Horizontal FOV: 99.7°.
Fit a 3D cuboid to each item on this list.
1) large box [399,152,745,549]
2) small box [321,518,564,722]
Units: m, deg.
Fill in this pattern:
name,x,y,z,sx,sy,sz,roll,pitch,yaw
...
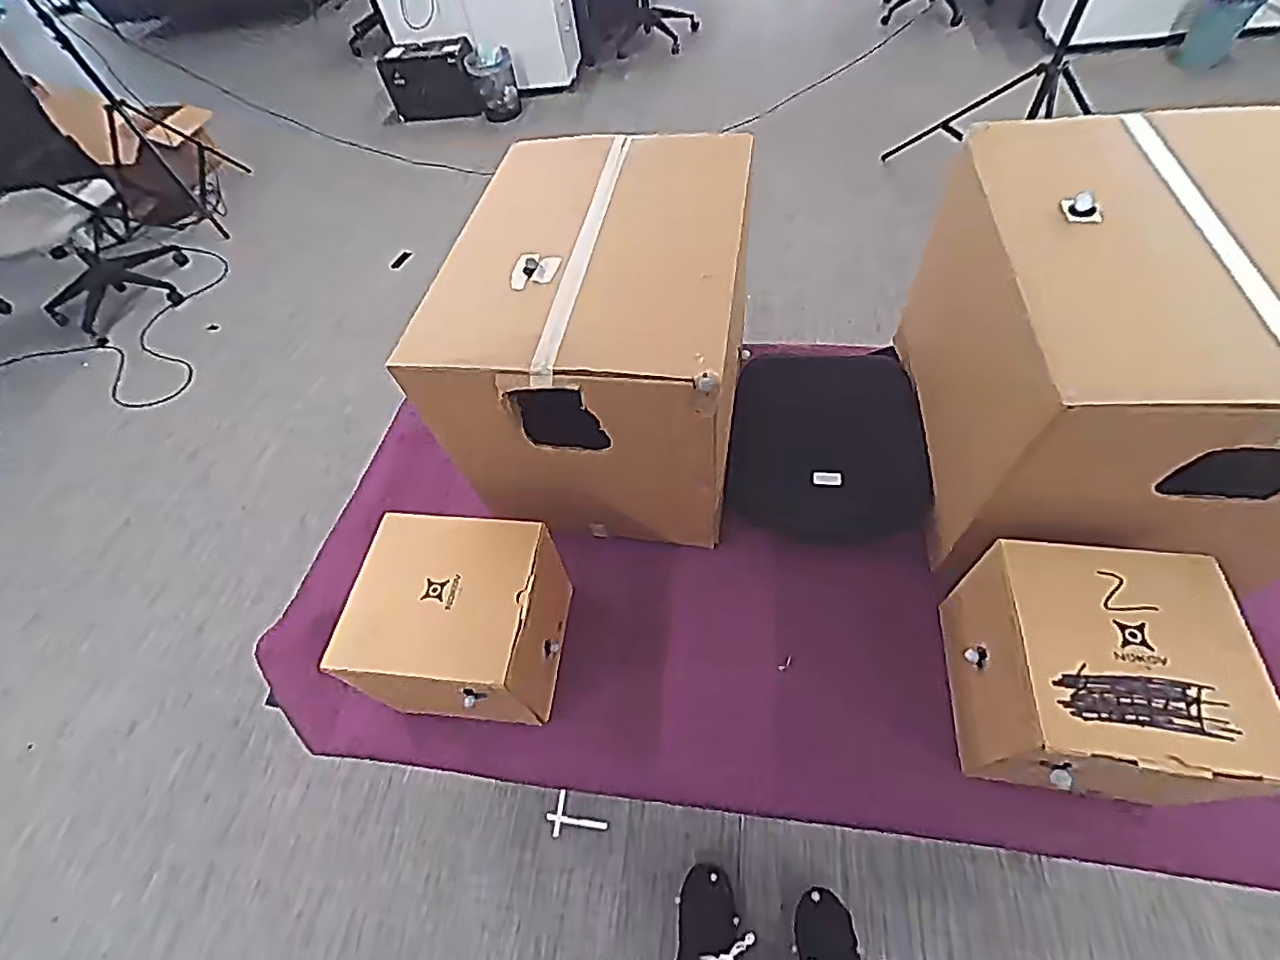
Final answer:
name,x,y,z,sx,sy,sz,roll,pitch,yaw
large box,-0.036,-0.164,0.710,0.320,0.320,0.408,4,59,11
small box,-0.194,0.157,0.593,0.179,0.176,0.168,3,56,6
